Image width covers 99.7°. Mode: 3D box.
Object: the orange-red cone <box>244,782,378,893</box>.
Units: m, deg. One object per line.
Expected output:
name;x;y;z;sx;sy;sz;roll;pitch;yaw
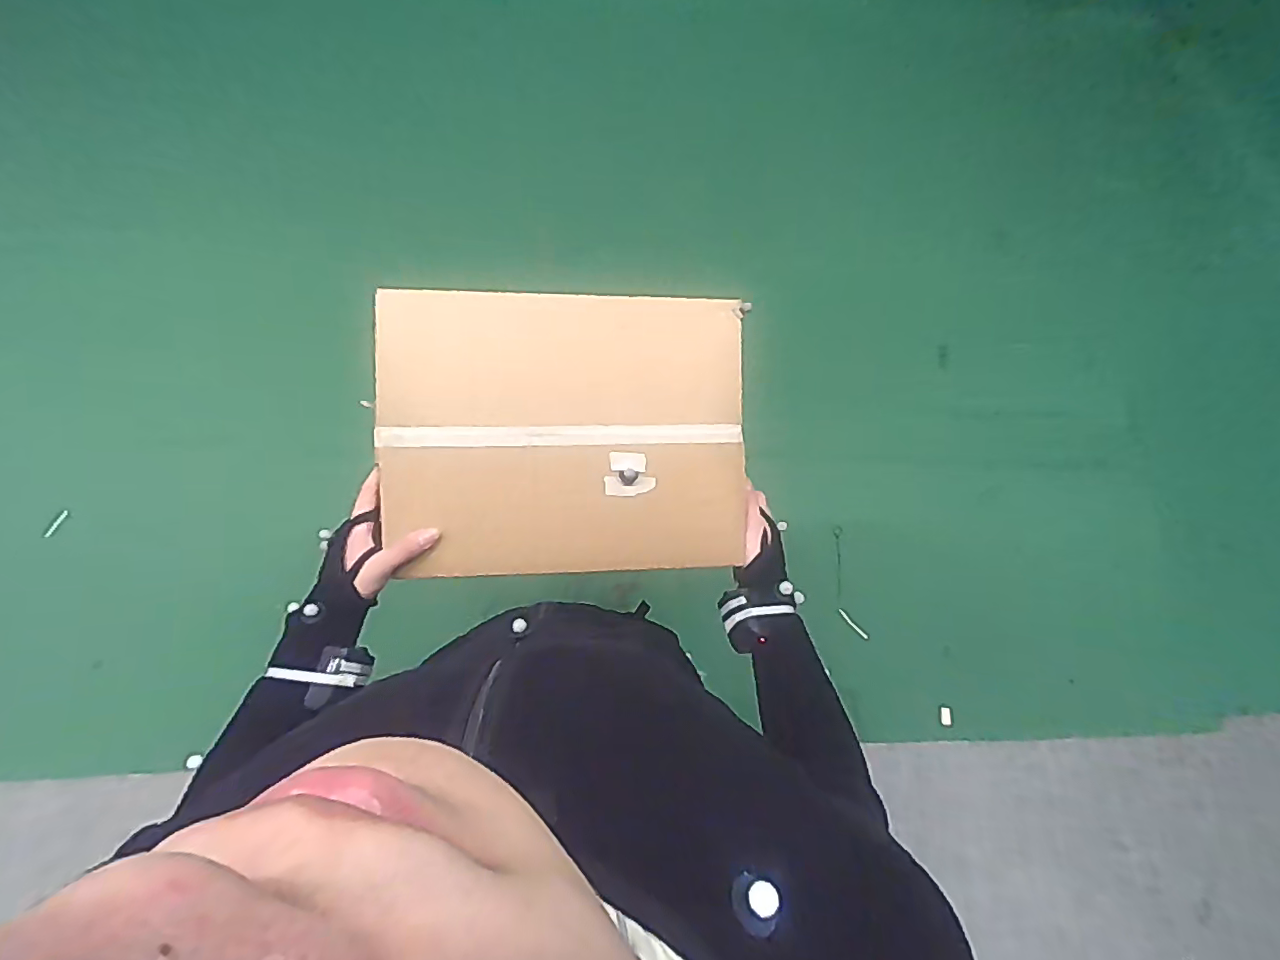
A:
orange-red cone;-0.803;0.871;1.270;0.199;0.360;0.198;7;74;-2

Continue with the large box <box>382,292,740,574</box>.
large box;-0.103;-0.059;0.763;0.408;0.320;0.320;-1;92;-9
